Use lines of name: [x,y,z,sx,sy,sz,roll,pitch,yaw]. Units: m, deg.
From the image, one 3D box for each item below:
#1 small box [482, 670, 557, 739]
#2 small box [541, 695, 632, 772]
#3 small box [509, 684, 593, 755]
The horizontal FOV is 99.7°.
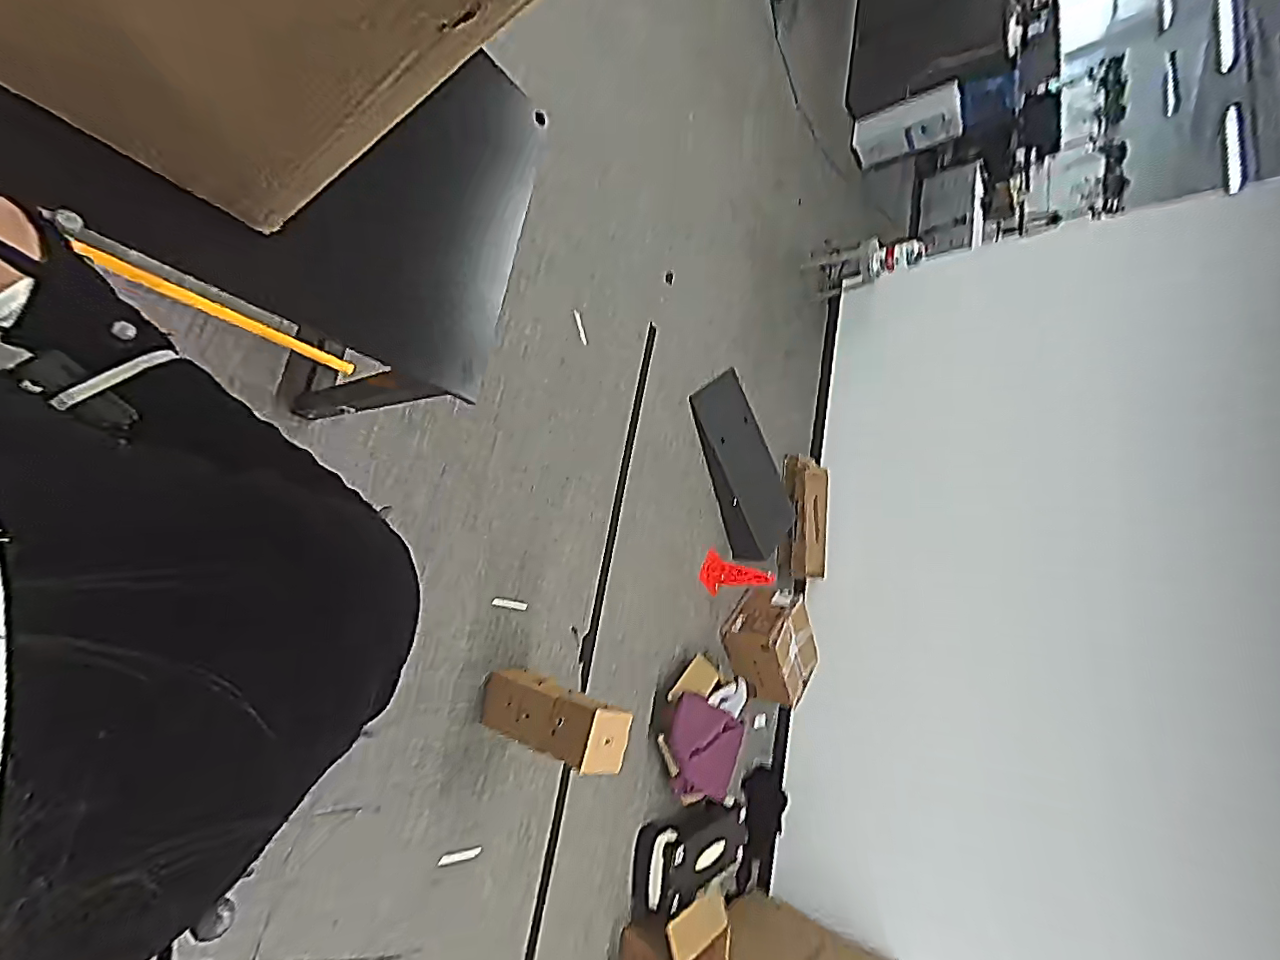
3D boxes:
small box: [-0.406,0.740,1.806,0.168,0.176,0.179,20,75,-49]
small box: [-0.157,0.744,1.593,0.179,0.176,0.168,32,65,-45]
small box: [-0.279,0.746,1.701,0.179,0.176,0.168,26,71,-47]
